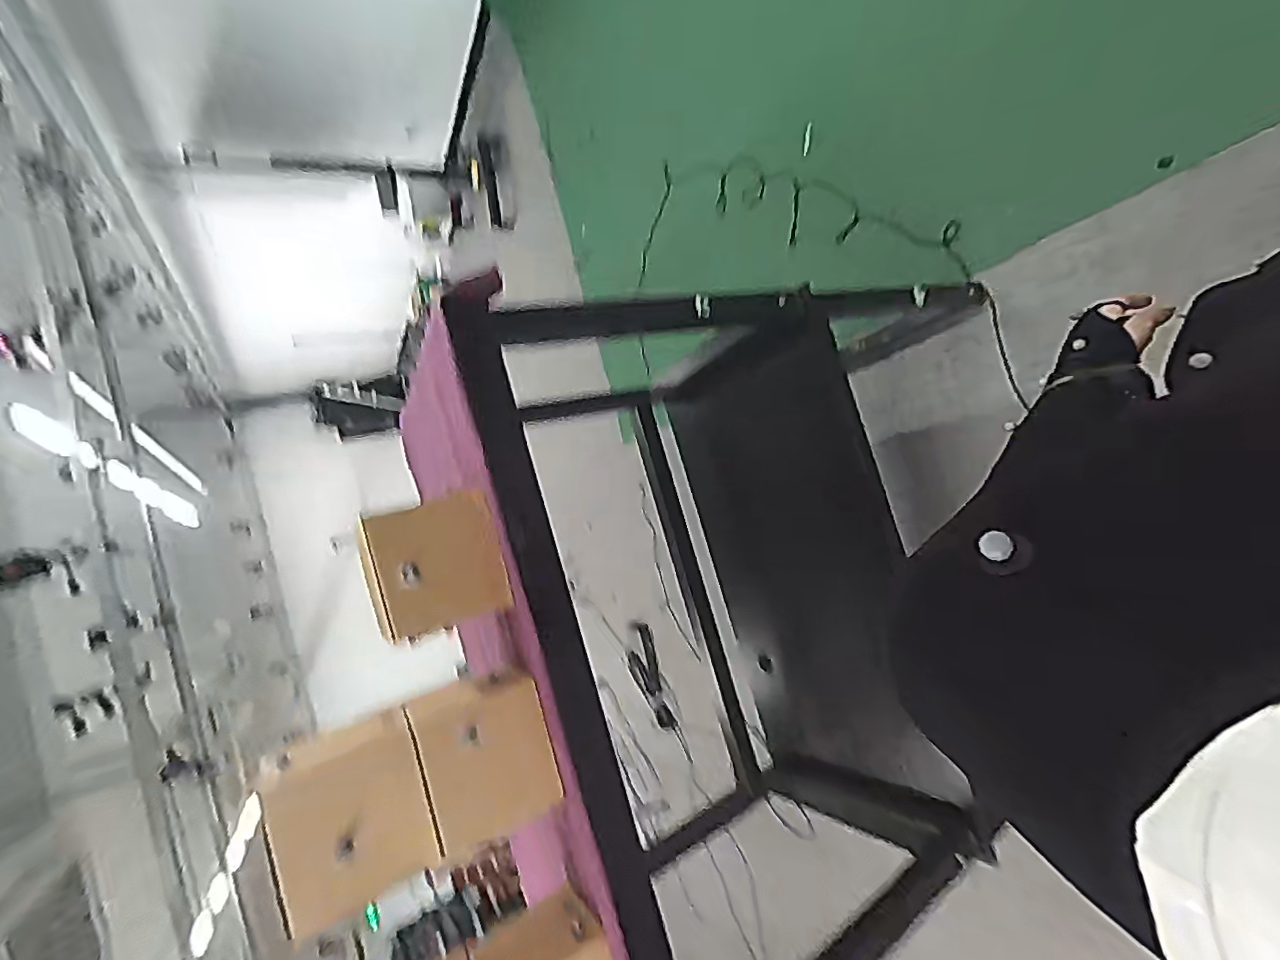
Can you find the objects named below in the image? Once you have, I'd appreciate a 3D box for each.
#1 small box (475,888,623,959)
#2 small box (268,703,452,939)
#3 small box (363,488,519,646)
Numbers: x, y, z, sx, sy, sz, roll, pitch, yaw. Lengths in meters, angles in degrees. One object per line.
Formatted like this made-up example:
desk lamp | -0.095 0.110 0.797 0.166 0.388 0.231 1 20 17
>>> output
small box | -0.110 0.723 0.749 0.168 0.176 0.179 -29 79 60
small box | -0.360 0.426 0.713 0.168 0.176 0.179 -20 86 60
small box | -0.293 0.124 0.798 0.168 0.176 0.179 -19 86 58
